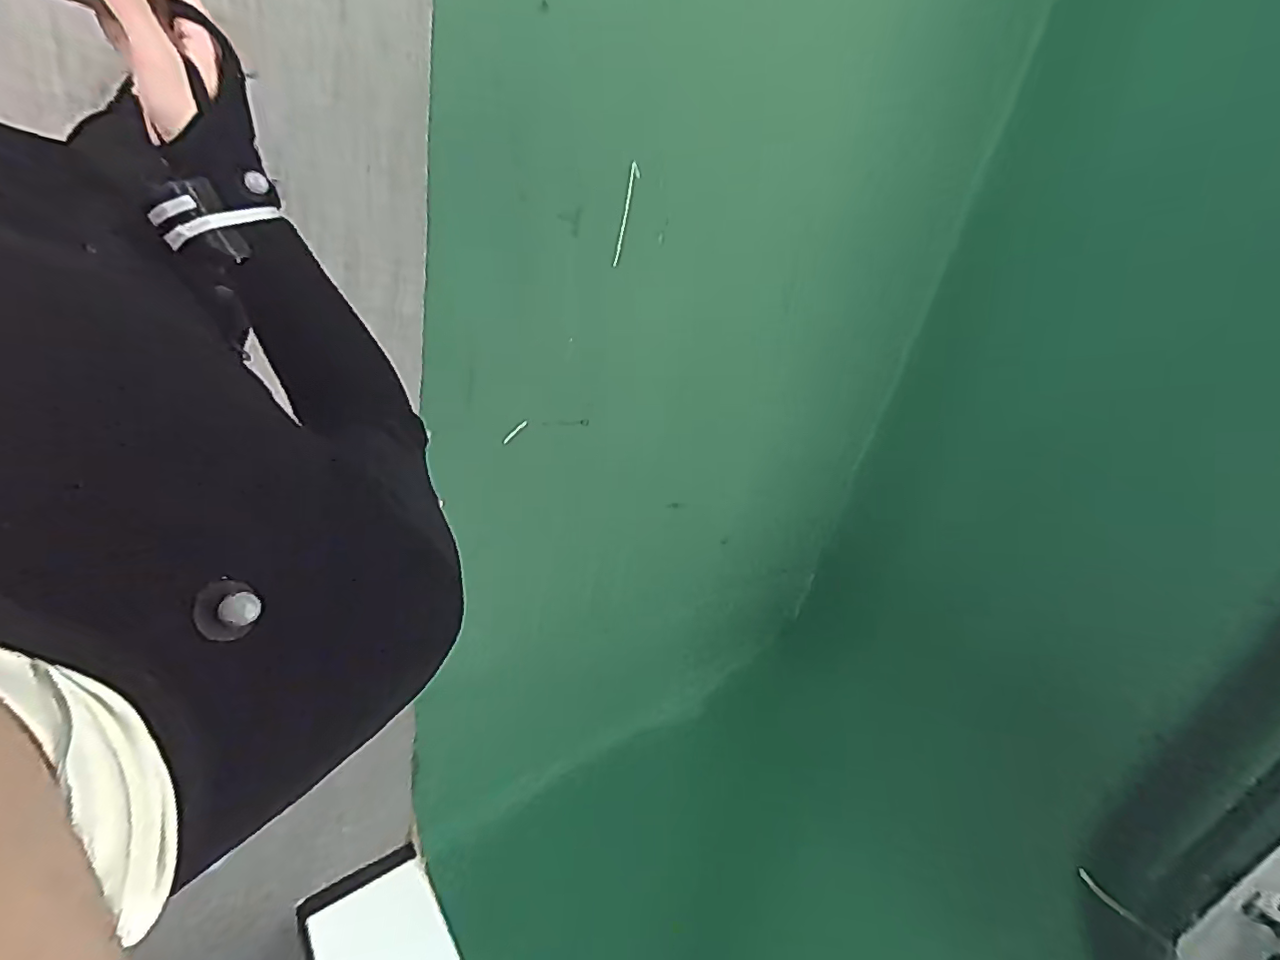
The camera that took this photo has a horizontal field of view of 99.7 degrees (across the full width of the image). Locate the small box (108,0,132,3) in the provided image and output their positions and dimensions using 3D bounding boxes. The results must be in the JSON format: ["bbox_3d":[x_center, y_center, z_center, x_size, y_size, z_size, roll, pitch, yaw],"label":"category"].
[{"bbox_3d":[-0.422,-0.434,0.327,0.168,0.176,0.179,-3,121,-40],"label":"small box"}]
